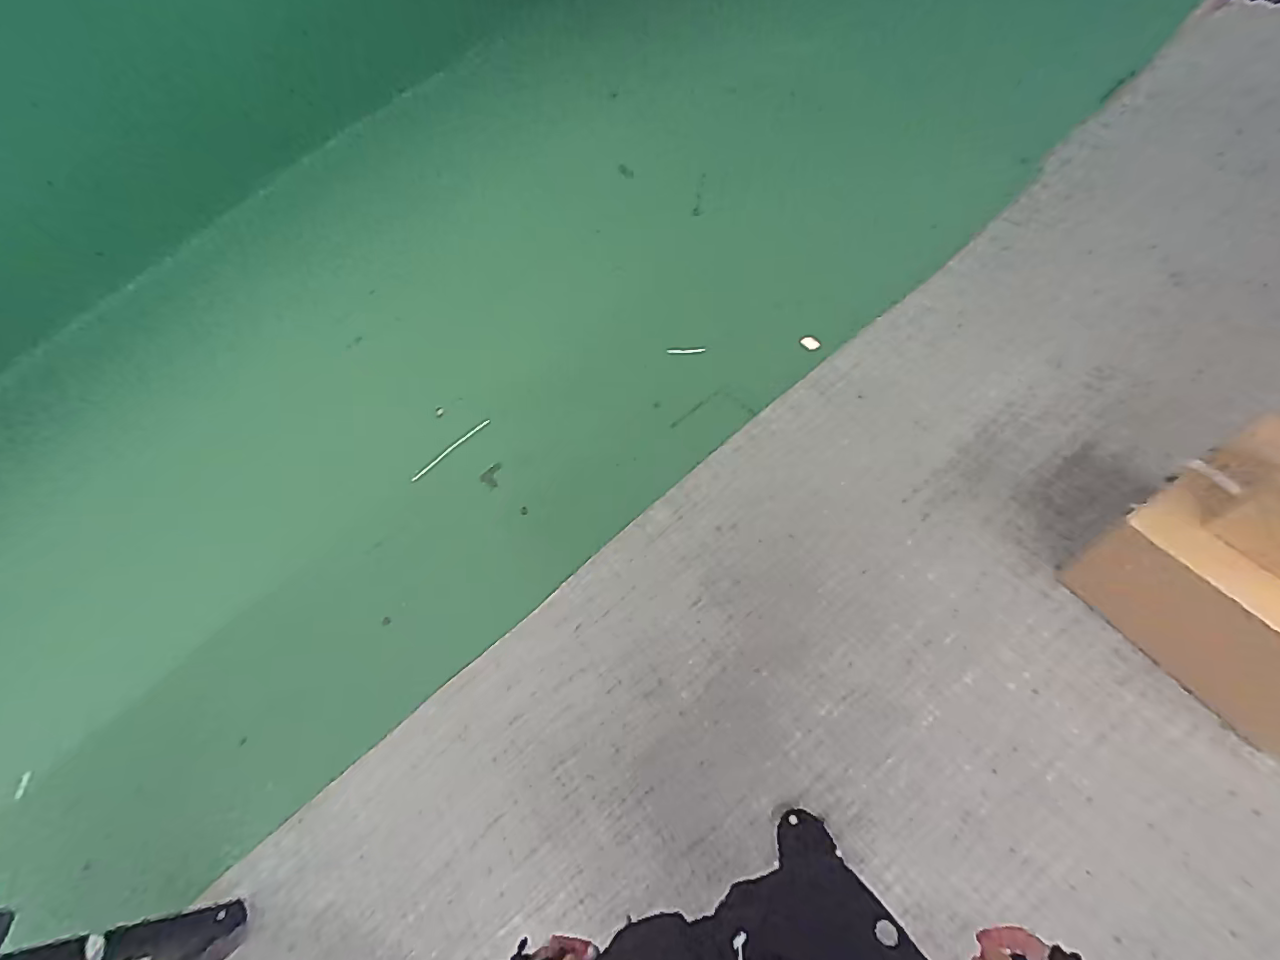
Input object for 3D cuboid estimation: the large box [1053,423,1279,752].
[{"bbox_3d":[1.049,0.186,0.918,0.320,0.320,0.408,-36,59,-3],"label":"large box"}]
